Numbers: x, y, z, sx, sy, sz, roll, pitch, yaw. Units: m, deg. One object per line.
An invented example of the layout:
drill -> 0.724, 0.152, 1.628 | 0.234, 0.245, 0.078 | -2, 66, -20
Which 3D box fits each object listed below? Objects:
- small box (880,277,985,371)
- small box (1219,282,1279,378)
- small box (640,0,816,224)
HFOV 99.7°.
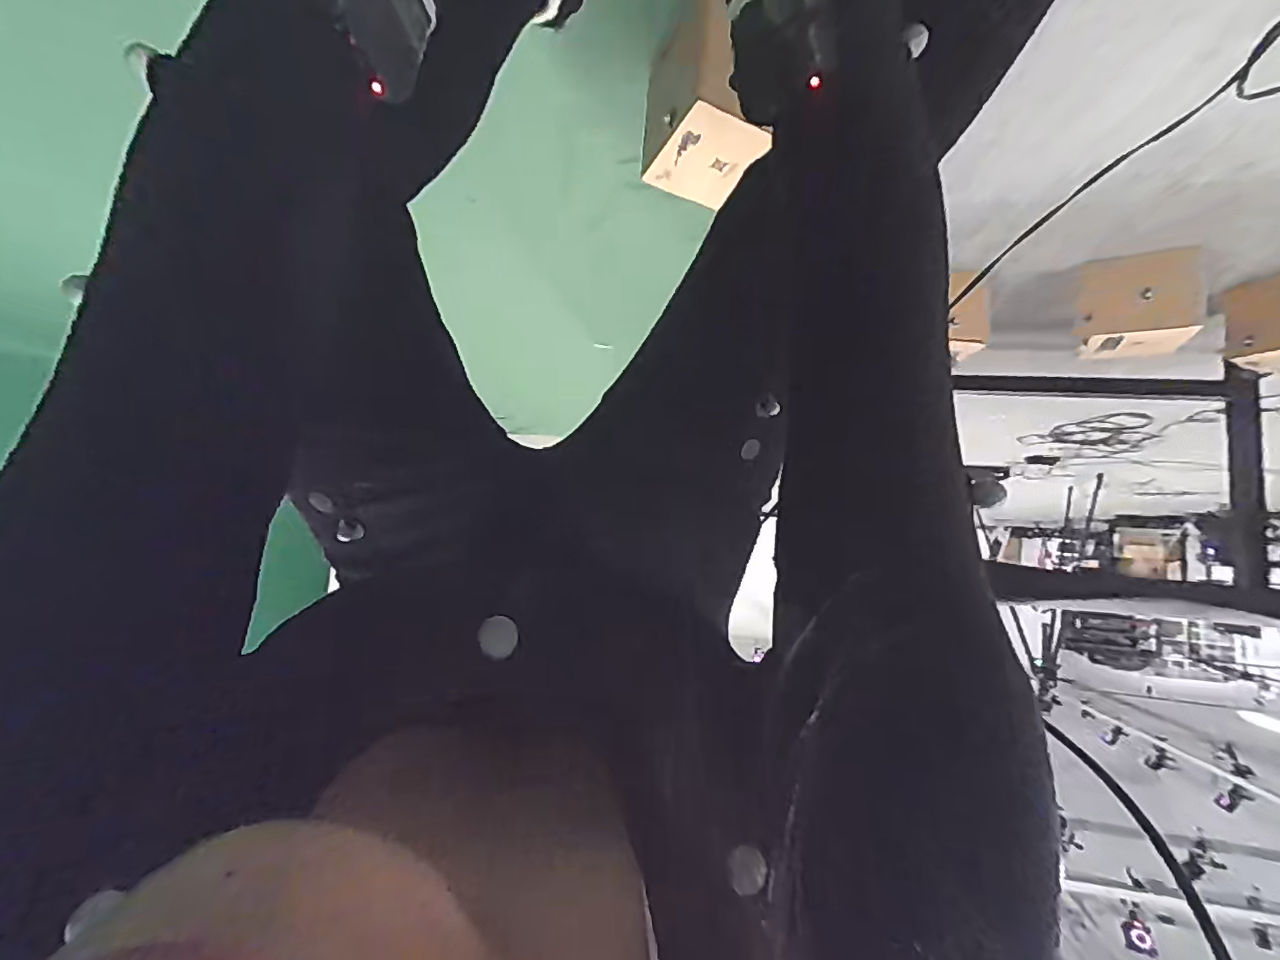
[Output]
small box -> 0.699, -0.371, 1.301 | 0.179, 0.176, 0.168 | 4, 173, 5
small box -> 1.425, -0.338, 1.184 | 0.168, 0.176, 0.179 | 7, 173, -23
small box -> 0.116, -0.482, 0.721 | 0.179, 0.176, 0.168 | 7, 174, -24
